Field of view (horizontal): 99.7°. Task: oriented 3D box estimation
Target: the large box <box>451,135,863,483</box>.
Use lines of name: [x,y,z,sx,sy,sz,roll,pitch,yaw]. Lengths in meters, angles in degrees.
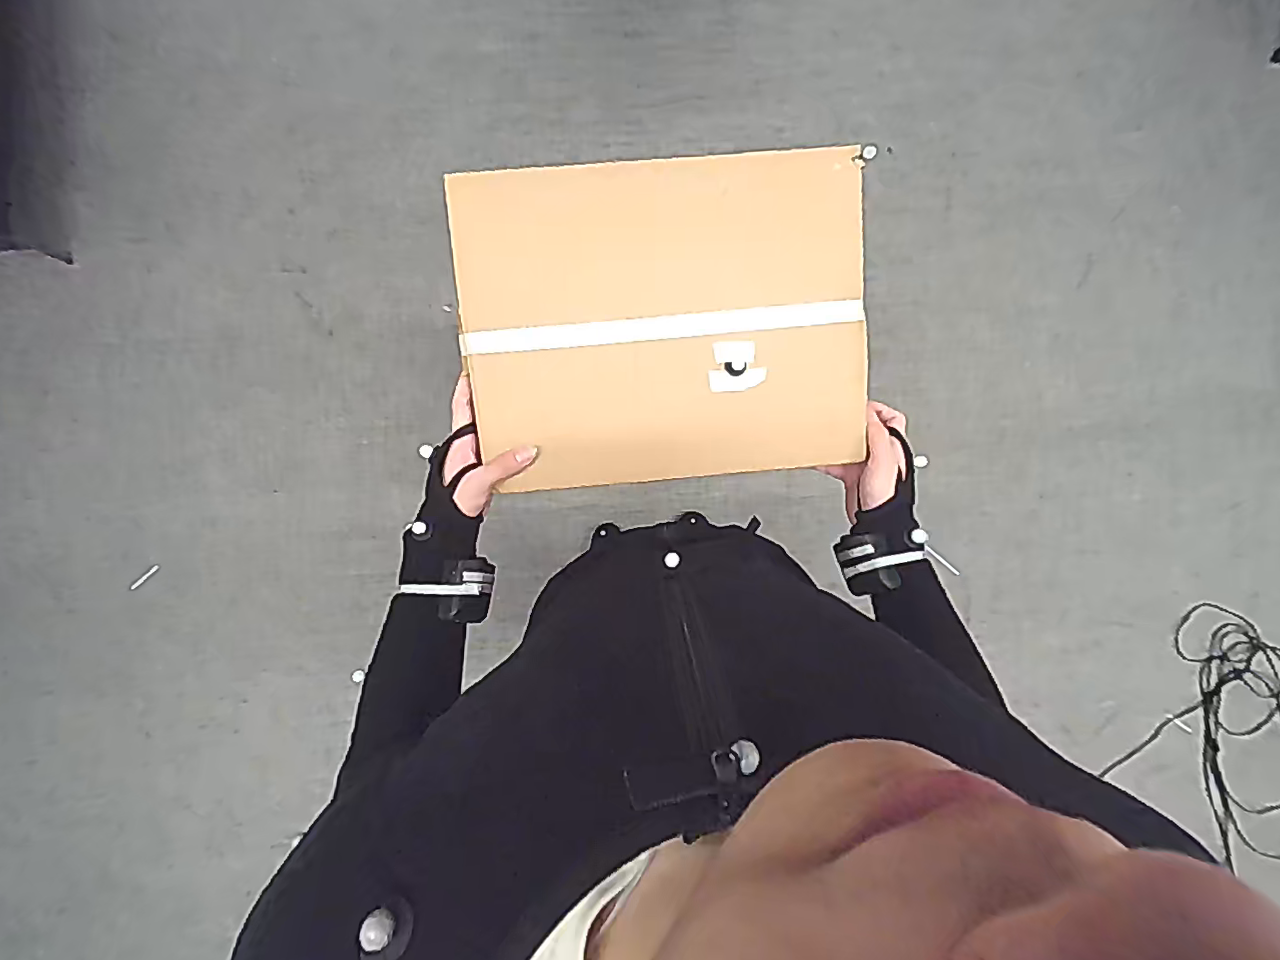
large box: [0.019,-0.192,0.697,0.408,0.320,0.320,-6,101,-2]
